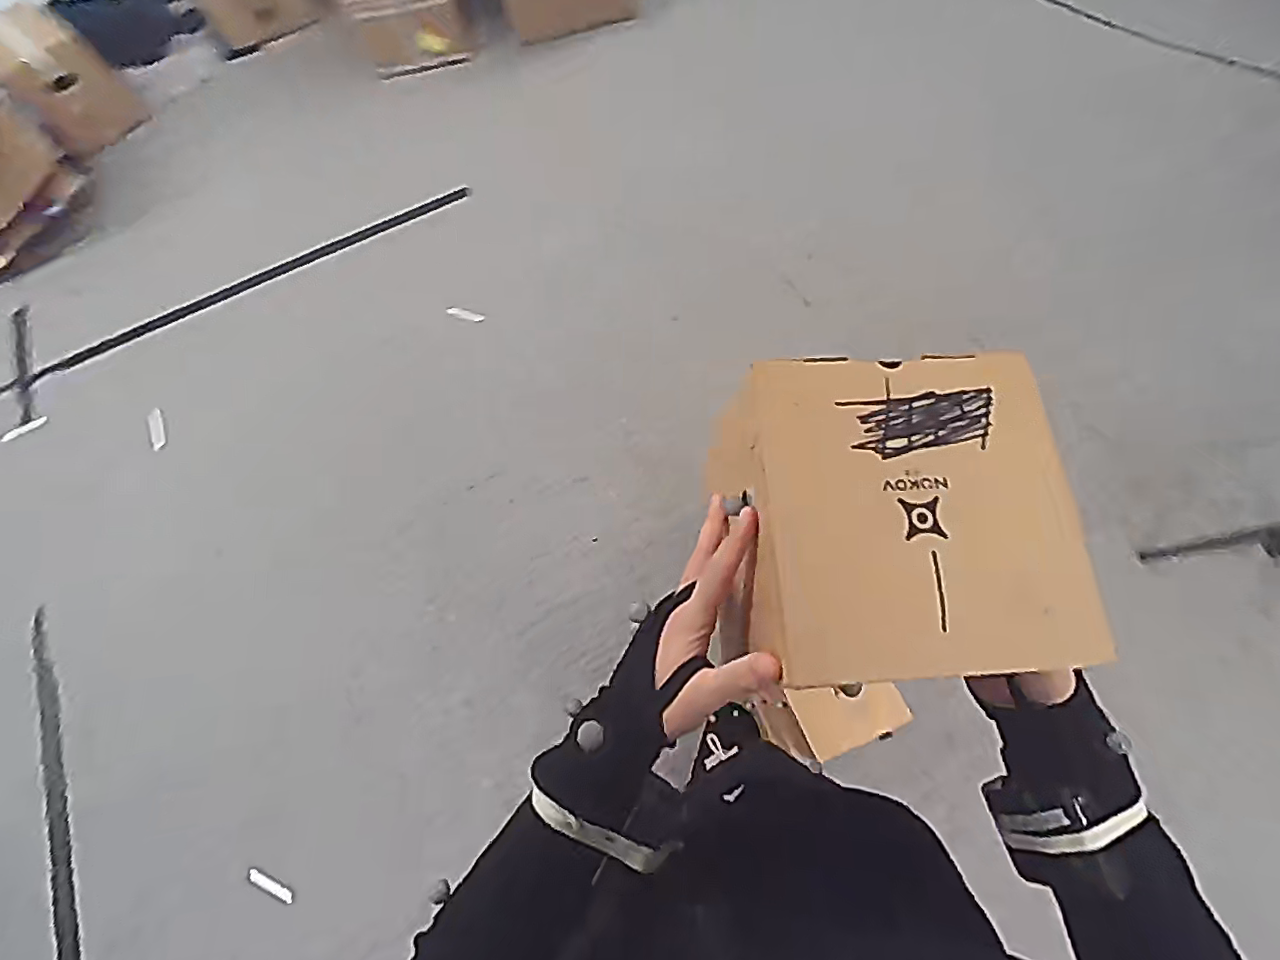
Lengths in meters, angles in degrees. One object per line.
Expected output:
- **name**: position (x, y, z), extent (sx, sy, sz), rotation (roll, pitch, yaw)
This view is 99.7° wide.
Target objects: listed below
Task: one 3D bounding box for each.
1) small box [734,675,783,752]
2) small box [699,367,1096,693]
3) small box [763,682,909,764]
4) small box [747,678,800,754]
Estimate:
- **small box**: position (0.327, 0.493, 1.235), extent (0.168, 0.176, 0.179), rotation (-22, 68, -5)
- **small box**: position (0.138, 0.042, 0.366), extent (0.168, 0.176, 0.179), rotation (-3, 73, -4)
- **small box**: position (0.318, 0.364, 0.936), extent (0.168, 0.176, 0.179), rotation (-23, 68, -4)
- **small box**: position (0.322, 0.428, 1.084), extent (0.168, 0.176, 0.179), rotation (-20, 68, -3)
